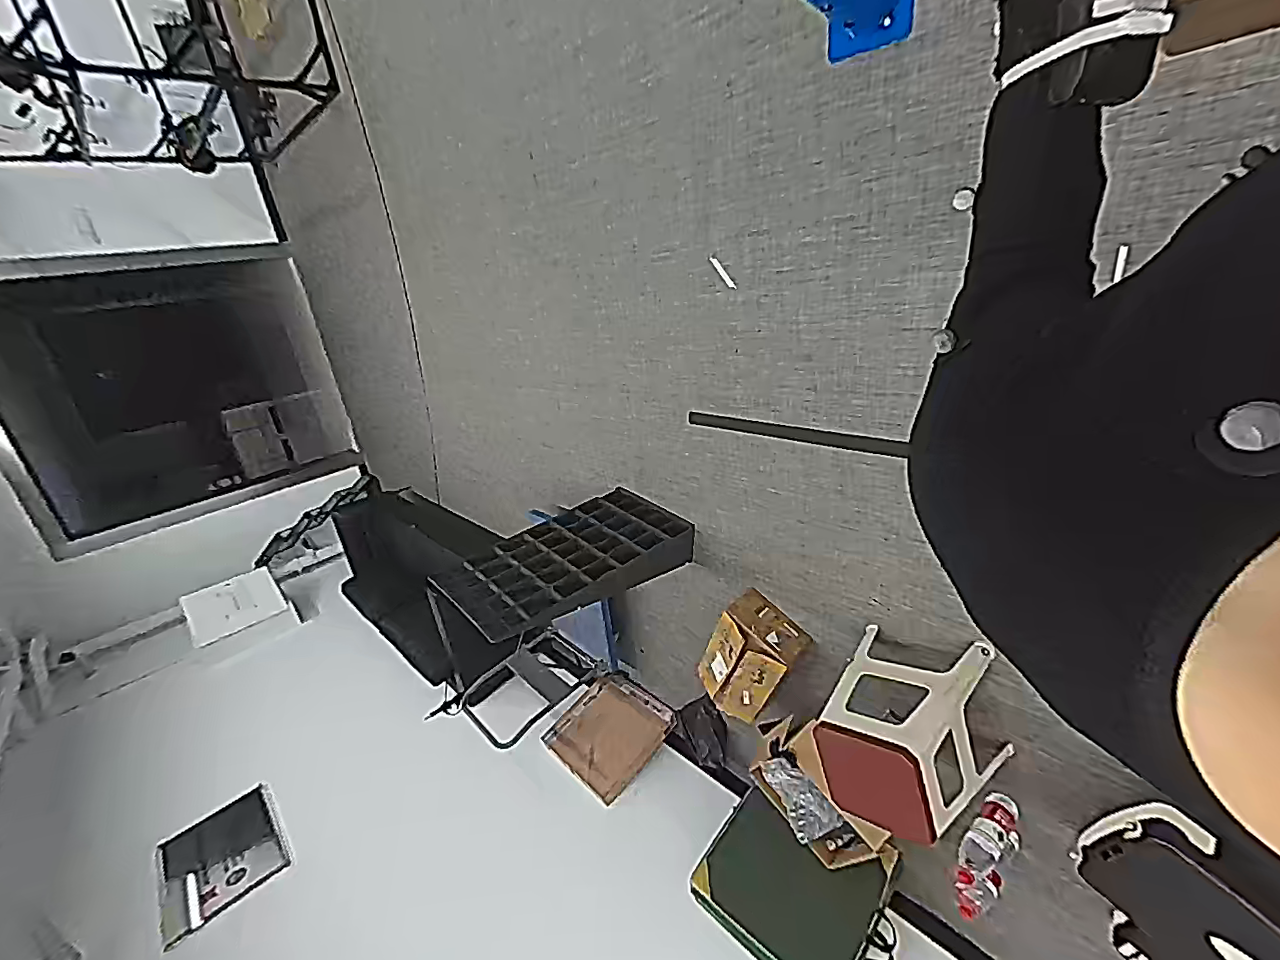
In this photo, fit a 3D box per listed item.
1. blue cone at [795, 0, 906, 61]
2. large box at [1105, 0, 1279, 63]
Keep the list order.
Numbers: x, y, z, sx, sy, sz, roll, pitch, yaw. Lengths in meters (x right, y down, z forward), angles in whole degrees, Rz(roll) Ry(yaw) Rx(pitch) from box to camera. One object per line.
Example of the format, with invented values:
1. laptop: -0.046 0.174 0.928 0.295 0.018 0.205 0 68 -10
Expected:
1. blue cone: 0.401 -1.044 1.144 0.192 0.380 0.193 21 125 44
2. large box: 0.525 -0.471 0.260 0.408 0.320 0.320 13 123 45
